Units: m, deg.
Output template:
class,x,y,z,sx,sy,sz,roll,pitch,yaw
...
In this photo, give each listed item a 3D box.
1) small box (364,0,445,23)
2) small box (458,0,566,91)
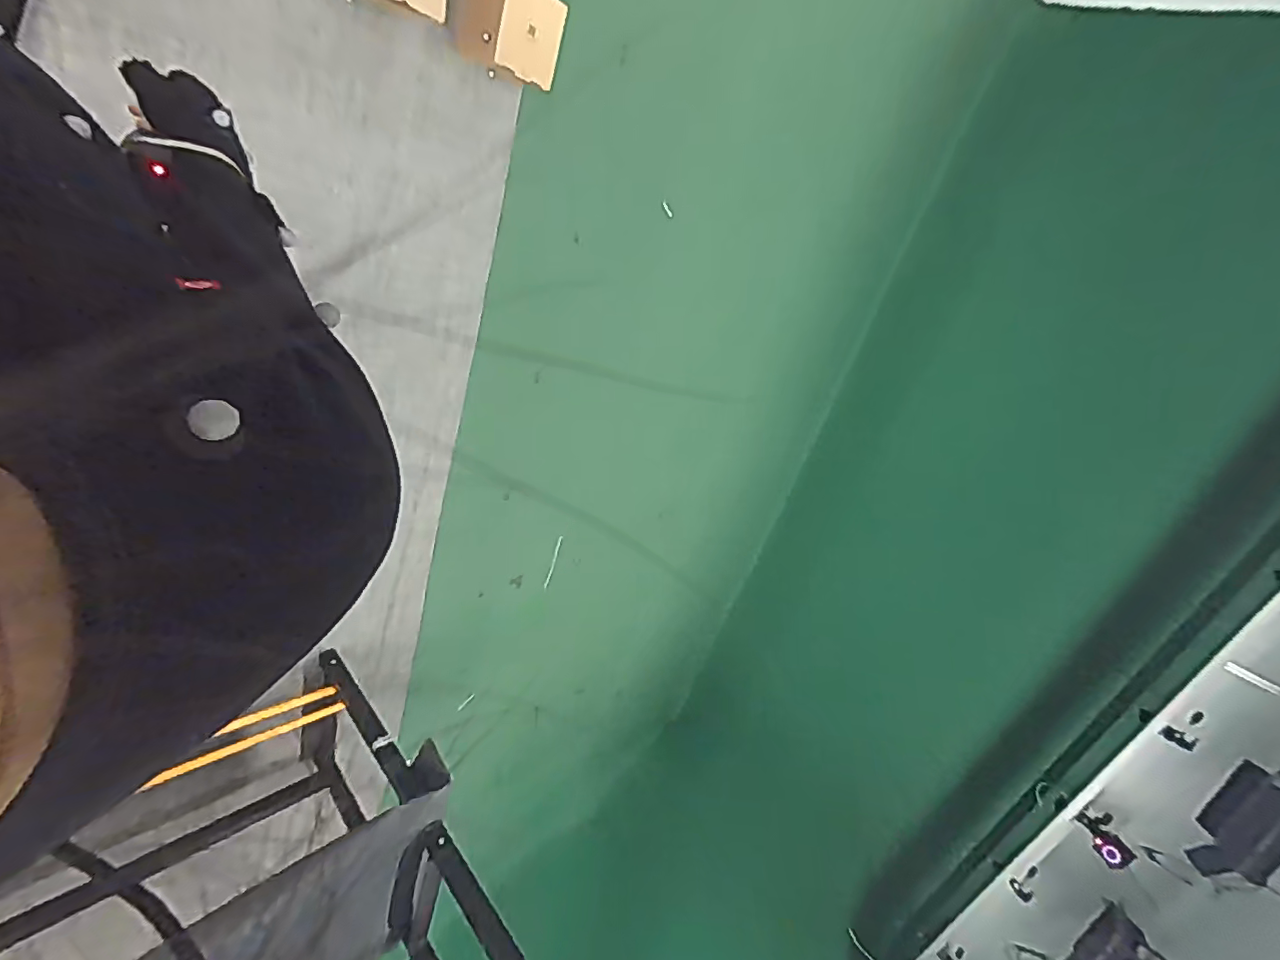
class,x,y,z,sx,sy,sz,roll,pitch,yaw
small box,-0.491,-1.030,1.049,0.168,0.176,0.179,-15,130,-47
small box,-0.306,-1.058,1.274,0.168,0.176,0.179,-10,127,-49
